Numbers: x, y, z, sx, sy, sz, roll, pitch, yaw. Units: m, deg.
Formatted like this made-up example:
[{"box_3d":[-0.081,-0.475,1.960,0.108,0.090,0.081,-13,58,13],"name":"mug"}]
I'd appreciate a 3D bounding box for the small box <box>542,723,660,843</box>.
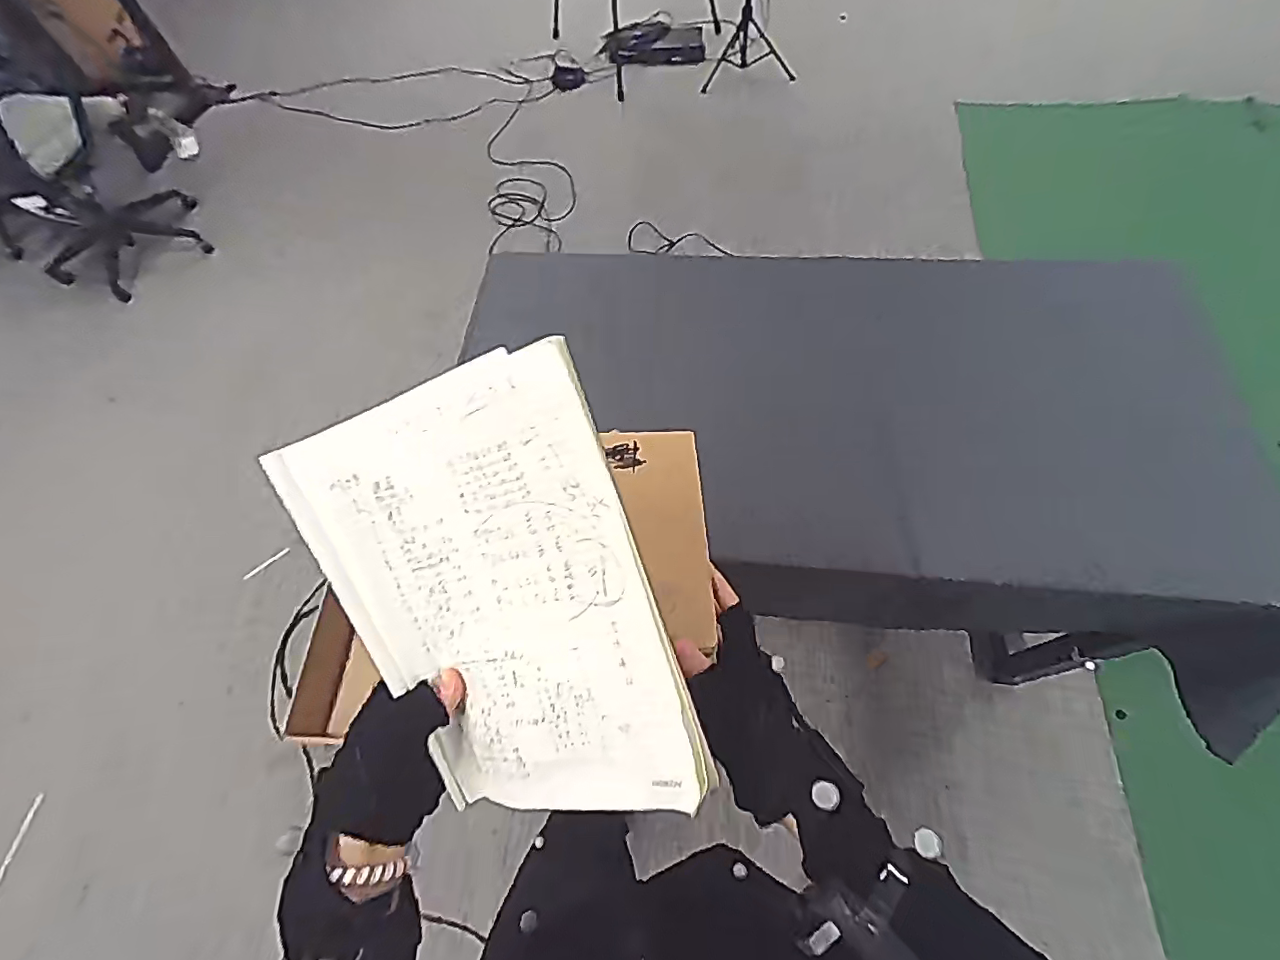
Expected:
[{"box_3d":[-0.092,0.665,1.198,0.179,0.176,0.168,26,79,40],"name":"small box"}]
